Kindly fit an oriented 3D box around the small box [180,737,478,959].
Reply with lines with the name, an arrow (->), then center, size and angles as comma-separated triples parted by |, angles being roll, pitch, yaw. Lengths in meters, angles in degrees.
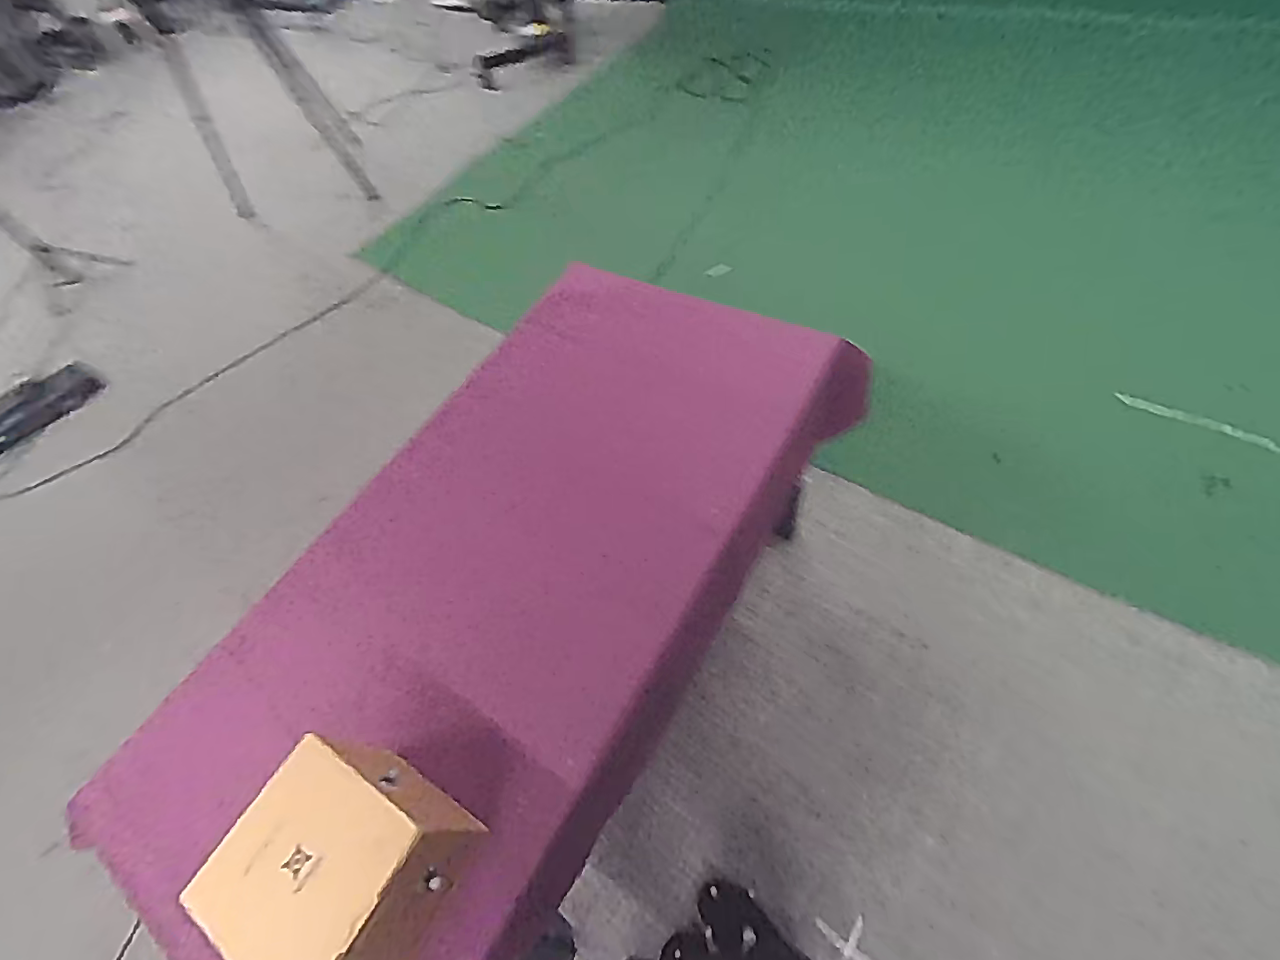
small box -> -0.306, 0.403, 0.570 | 0.179, 0.176, 0.168 | 23, 63, 23
